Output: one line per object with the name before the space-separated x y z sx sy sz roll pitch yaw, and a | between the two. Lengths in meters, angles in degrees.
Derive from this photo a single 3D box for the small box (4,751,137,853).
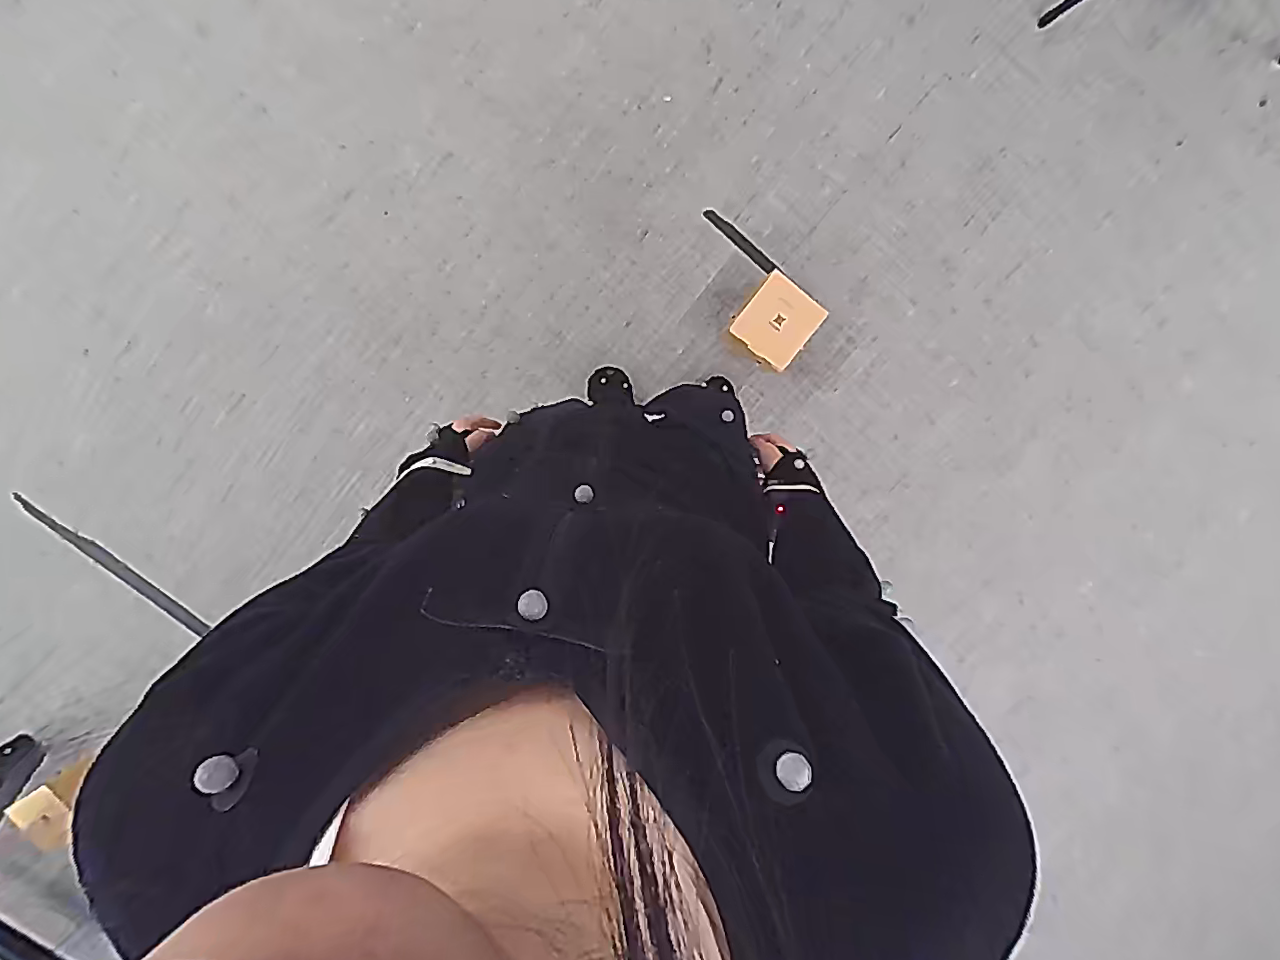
small box | -1.687 0.947 1.613 0.168 0.176 0.179 -32 101 6
